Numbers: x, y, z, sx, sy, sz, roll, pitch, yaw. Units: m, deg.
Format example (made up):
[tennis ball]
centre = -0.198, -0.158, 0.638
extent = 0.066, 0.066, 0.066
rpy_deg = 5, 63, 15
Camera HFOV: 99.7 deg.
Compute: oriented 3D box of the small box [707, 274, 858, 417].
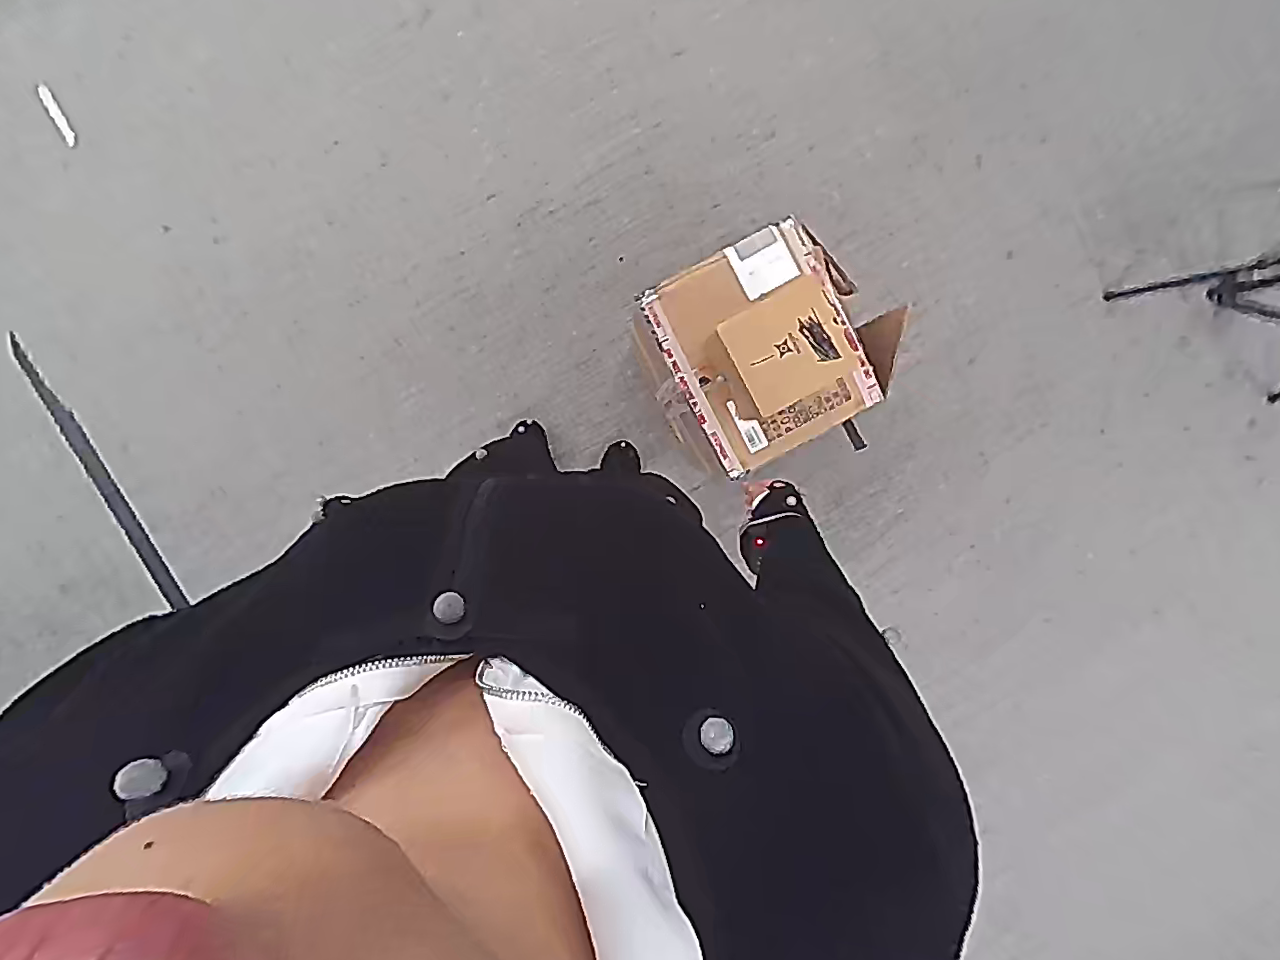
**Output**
[small box]
centre = 0.231, -0.218, 0.923
extent = 0.179, 0.176, 0.168
rpy_deg = -28, 94, 3
